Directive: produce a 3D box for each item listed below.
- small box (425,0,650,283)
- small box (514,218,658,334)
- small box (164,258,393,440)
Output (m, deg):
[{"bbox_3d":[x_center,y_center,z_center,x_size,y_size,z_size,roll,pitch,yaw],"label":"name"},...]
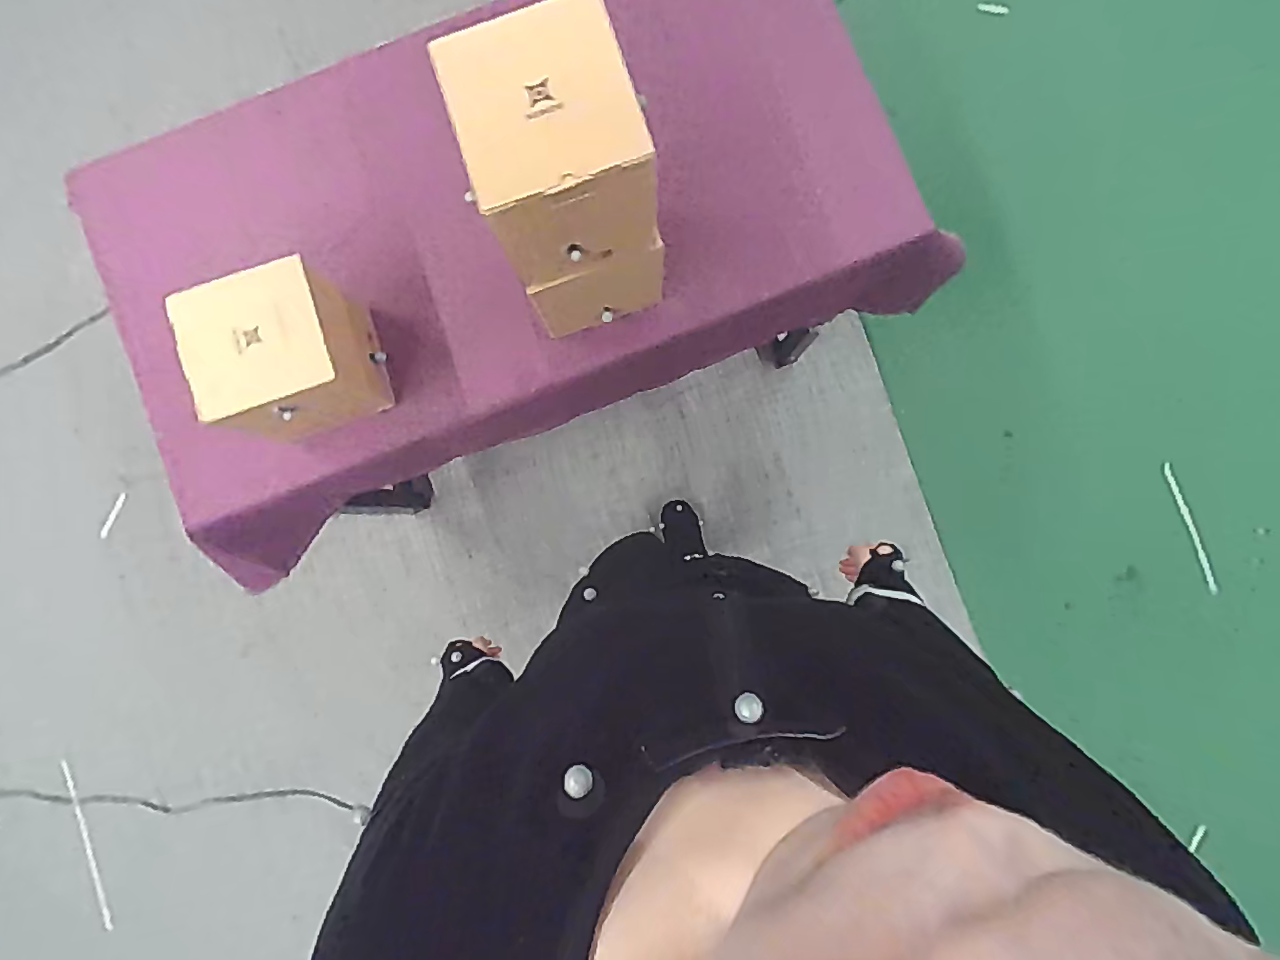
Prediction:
[{"bbox_3d":[-0.095,-0.343,0.573,0.168,0.176,0.179,-19,87,1],"label":"small box"},{"bbox_3d":[-0.085,-0.323,0.735,0.179,0.176,0.168,-20,86,-1],"label":"small box"},{"bbox_3d":[-0.475,-0.163,0.734,0.179,0.176,0.168,-19,87,-1],"label":"small box"}]
